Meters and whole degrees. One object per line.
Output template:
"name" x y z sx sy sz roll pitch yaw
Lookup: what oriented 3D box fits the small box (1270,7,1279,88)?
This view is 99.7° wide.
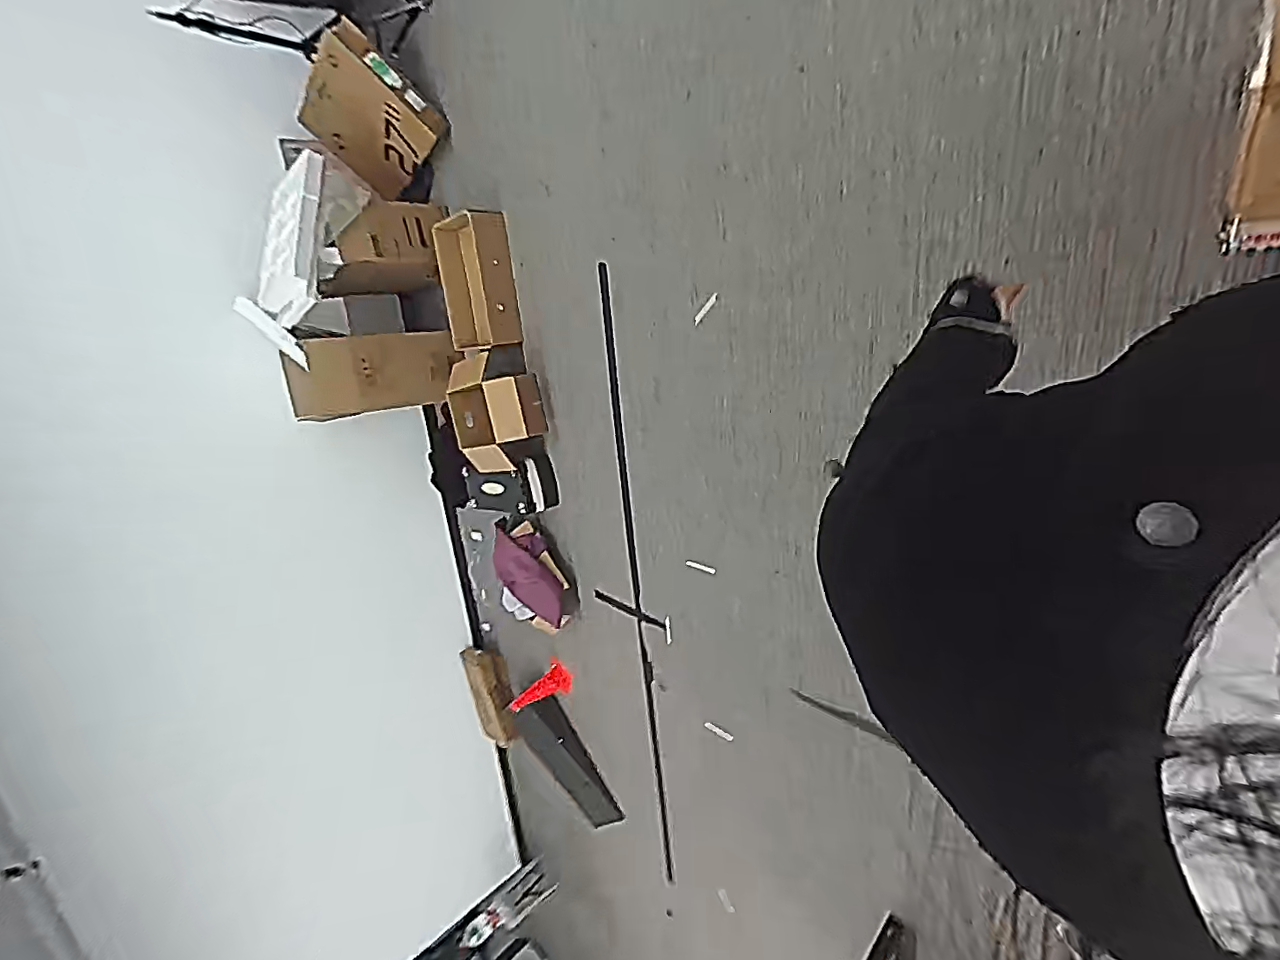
"small box" 0.700 -0.478 0.482 0.168 0.176 0.179 9 115 49
